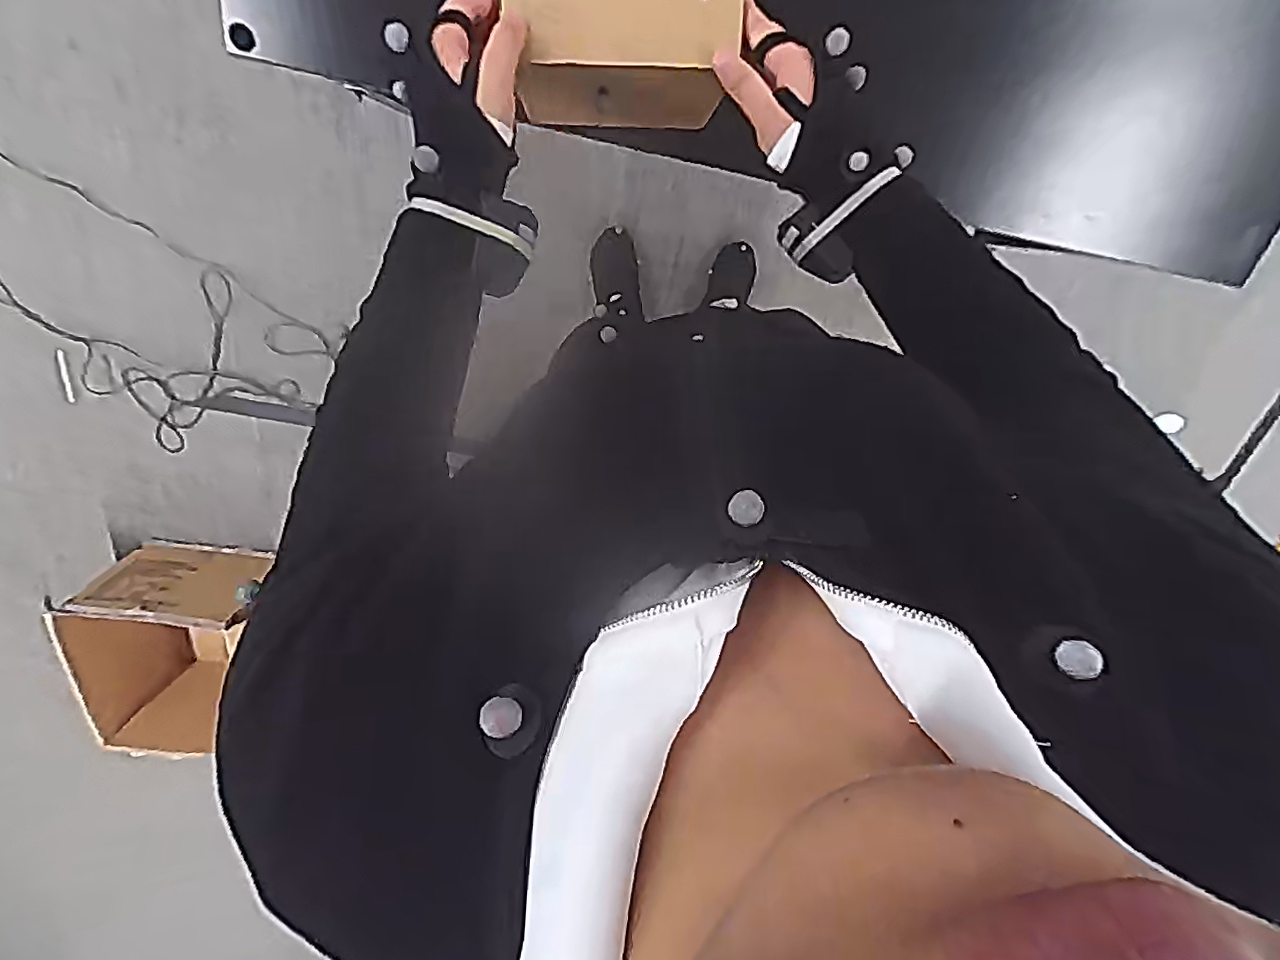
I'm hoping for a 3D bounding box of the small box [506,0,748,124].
[{"bbox_3d":[-0.010,-0.411,0.446,0.179,0.176,0.168,0,110,-3],"label":"small box"}]
